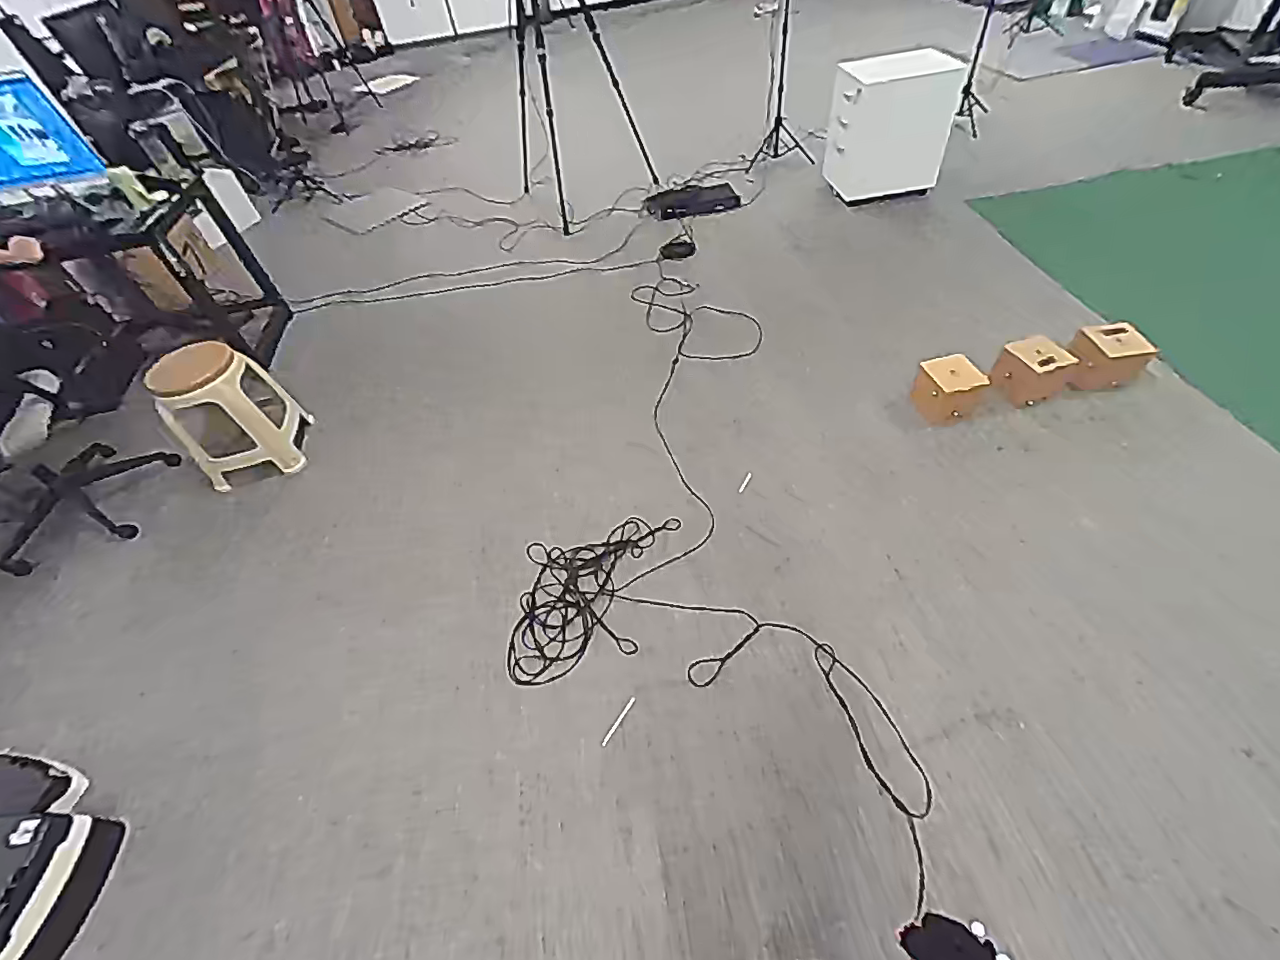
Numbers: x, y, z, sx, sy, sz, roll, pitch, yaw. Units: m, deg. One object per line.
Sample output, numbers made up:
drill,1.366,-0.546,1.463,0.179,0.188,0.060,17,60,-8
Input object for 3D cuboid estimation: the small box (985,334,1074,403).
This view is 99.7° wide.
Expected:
small box,1.409,-0.398,1.969,0.168,0.176,0.179,-17,49,-7

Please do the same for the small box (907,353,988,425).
small box,1.100,-0.327,1.954,0.168,0.176,0.179,-14,50,-3
